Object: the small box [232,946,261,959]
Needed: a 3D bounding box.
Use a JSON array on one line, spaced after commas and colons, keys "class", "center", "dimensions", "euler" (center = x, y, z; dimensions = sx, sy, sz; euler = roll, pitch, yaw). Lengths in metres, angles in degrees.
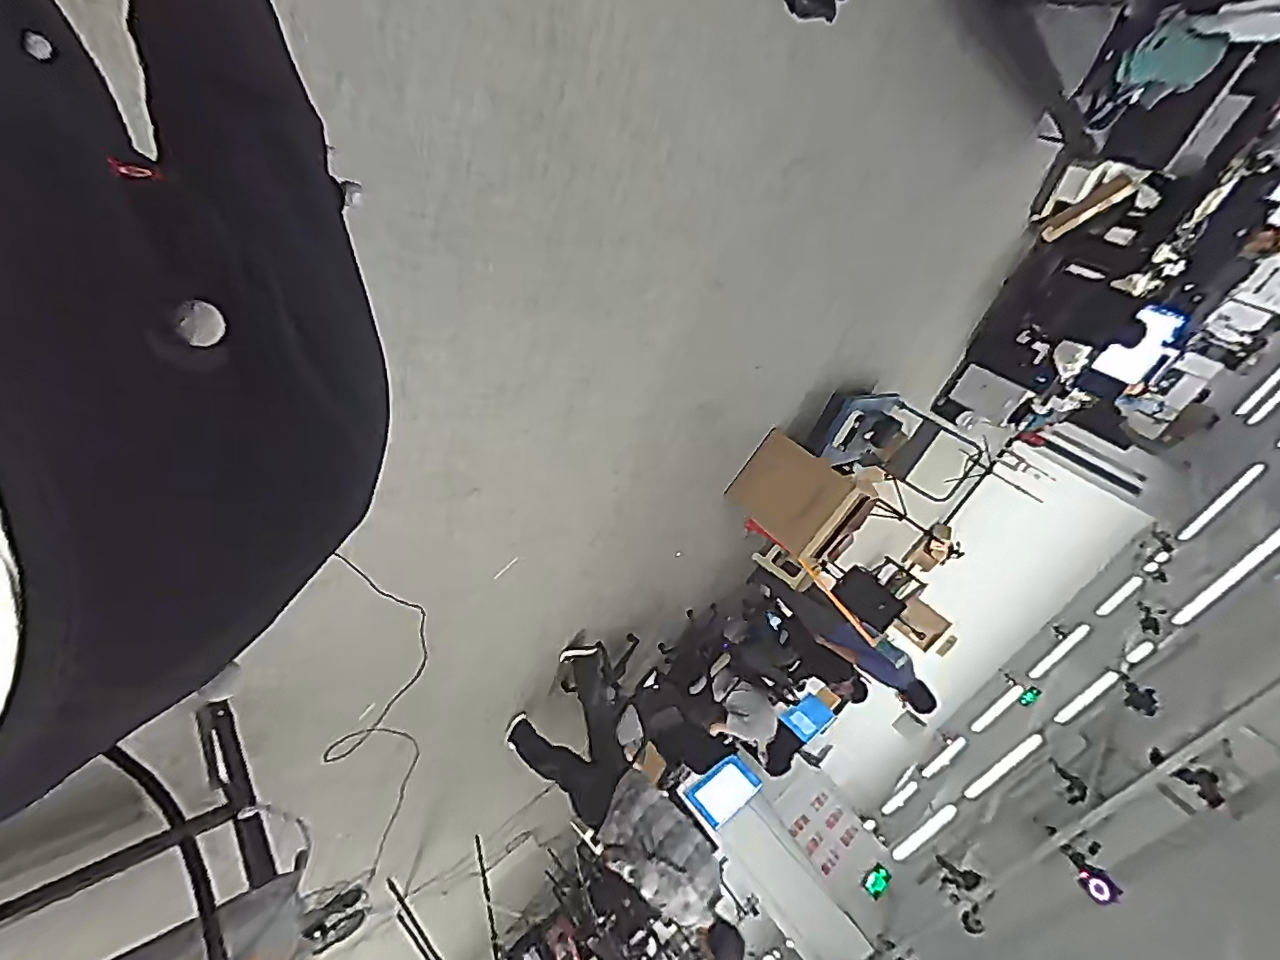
[{"class": "small box", "center": [-1.110, 1.421, 1.457], "dimensions": [0.179, 0.176, 0.168], "euler": [-14, 135, -41]}]
